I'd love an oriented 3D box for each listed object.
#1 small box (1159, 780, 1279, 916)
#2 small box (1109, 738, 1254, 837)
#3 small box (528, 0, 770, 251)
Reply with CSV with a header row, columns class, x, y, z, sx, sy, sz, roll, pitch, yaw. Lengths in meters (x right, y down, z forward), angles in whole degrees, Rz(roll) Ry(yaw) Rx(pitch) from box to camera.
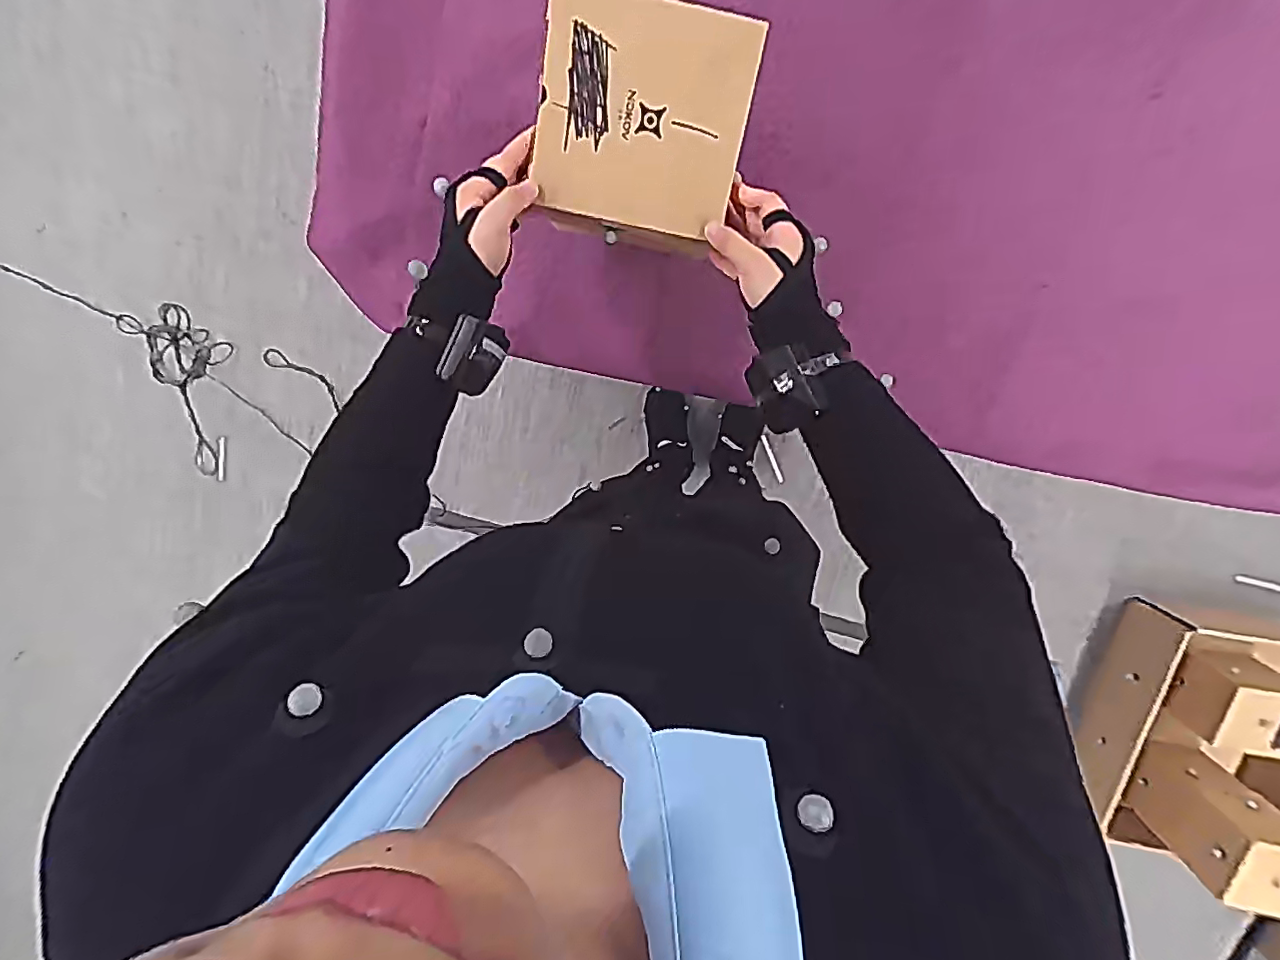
class,x,y,z,sx,sy,sz,roll,pitch,yaw
small box,1.348,0.829,1.227,0.168,0.176,0.179,10,104,5
small box,1.369,0.795,1.384,0.179,0.176,0.168,10,105,3
small box,0.005,-0.330,0.526,0.179,0.176,0.168,11,108,-3
